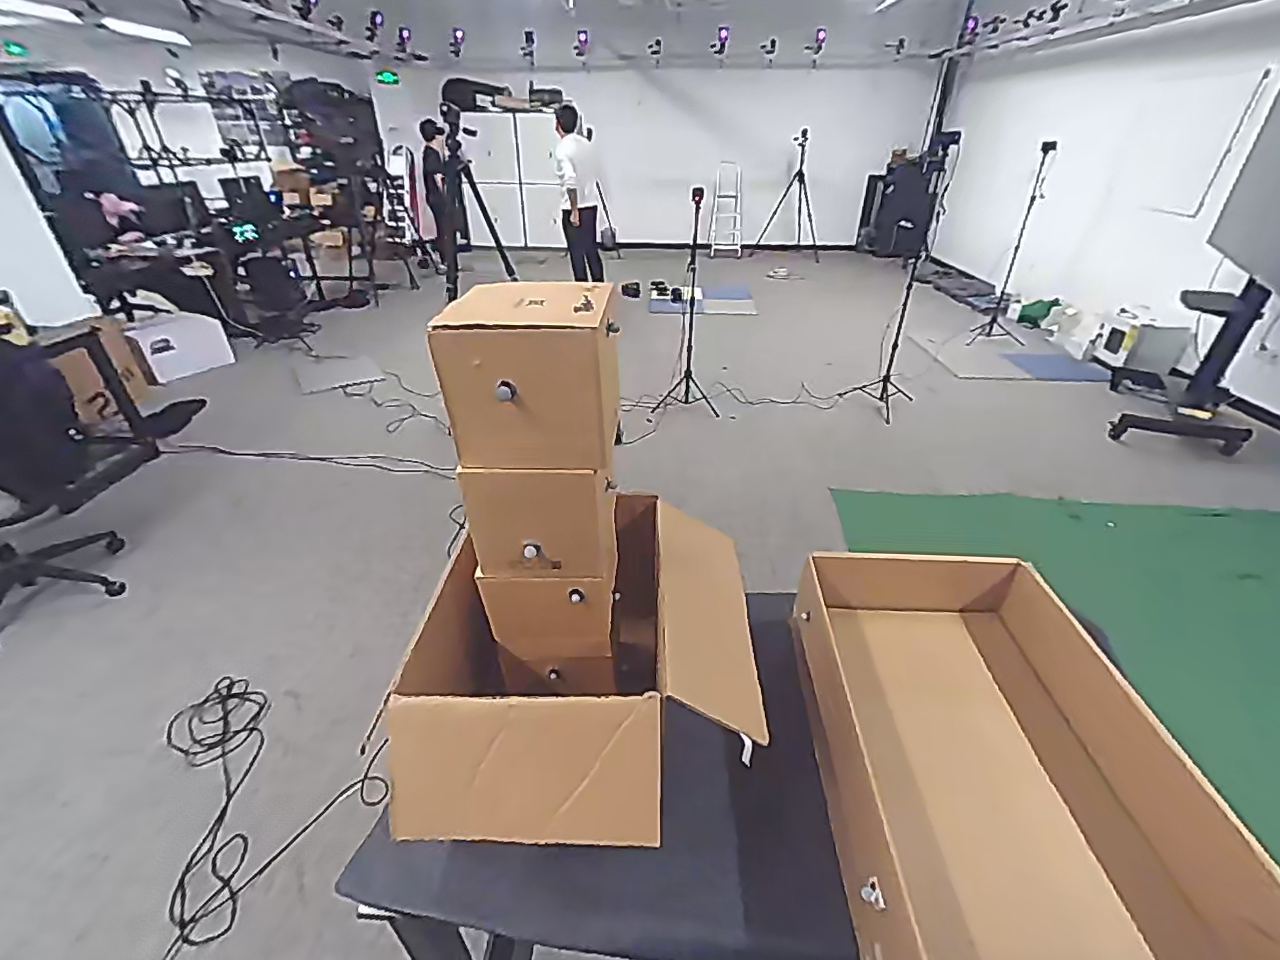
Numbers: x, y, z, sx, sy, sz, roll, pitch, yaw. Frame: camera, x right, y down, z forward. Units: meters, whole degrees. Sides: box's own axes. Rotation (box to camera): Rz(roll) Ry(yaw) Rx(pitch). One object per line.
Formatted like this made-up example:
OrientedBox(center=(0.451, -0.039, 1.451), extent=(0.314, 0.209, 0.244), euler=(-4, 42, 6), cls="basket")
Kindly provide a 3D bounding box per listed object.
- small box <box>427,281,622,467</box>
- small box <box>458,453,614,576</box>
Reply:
OrientedBox(center=(-0.119, -0.127, 0.642), extent=(0.179, 0.176, 0.168), euler=(0, 36, 4), cls="small box")
OrientedBox(center=(-0.126, 0.007, 0.736), extent=(0.168, 0.176, 0.179), euler=(1, 36, 3), cls="small box")
